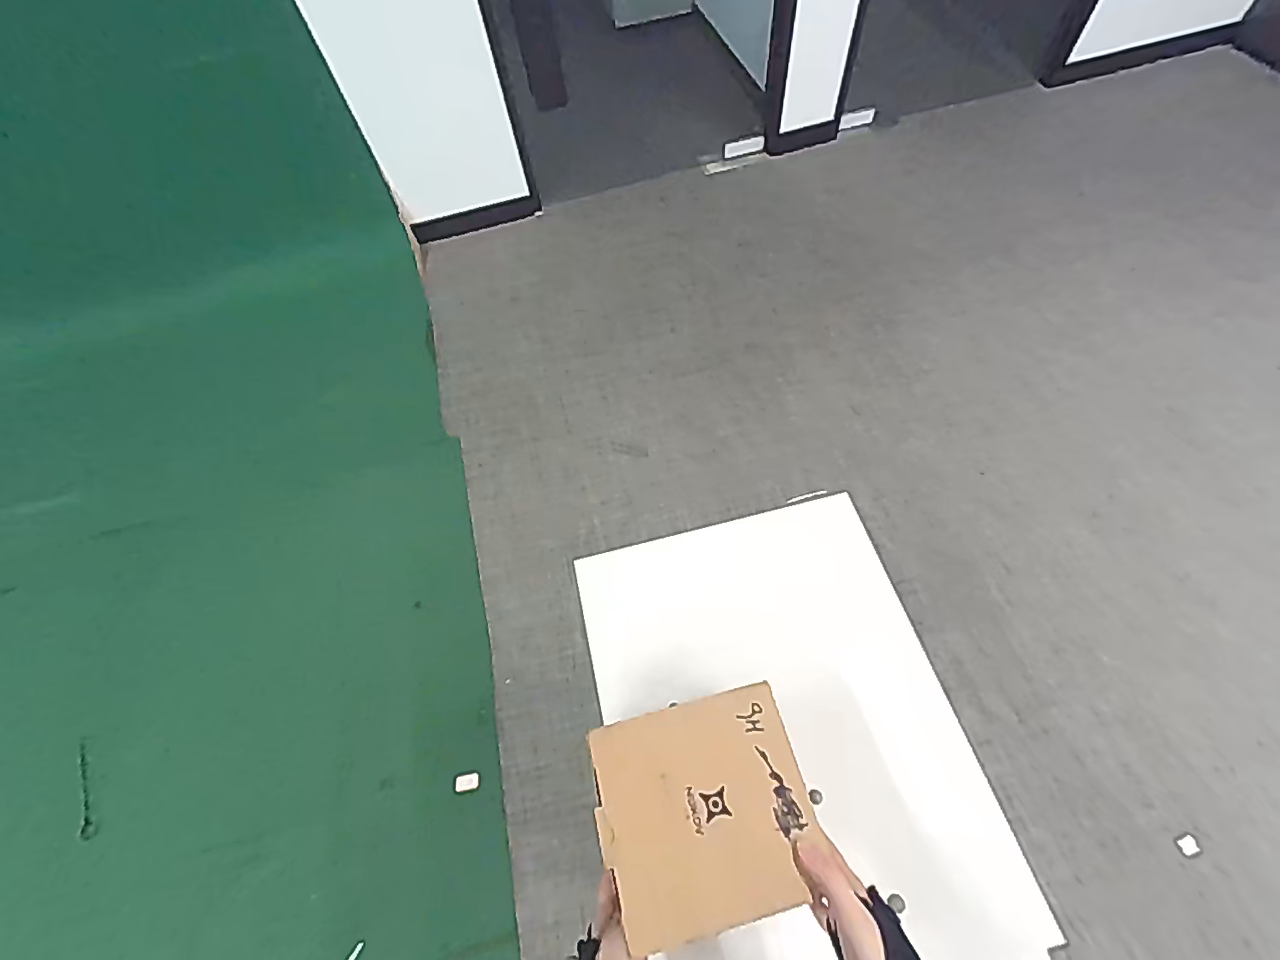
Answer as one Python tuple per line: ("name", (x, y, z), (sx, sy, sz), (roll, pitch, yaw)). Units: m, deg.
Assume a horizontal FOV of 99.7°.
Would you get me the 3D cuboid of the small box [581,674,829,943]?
("small box", (0.054, 0.306, 0.525), (0.179, 0.176, 0.168), (-14, 61, -4))
